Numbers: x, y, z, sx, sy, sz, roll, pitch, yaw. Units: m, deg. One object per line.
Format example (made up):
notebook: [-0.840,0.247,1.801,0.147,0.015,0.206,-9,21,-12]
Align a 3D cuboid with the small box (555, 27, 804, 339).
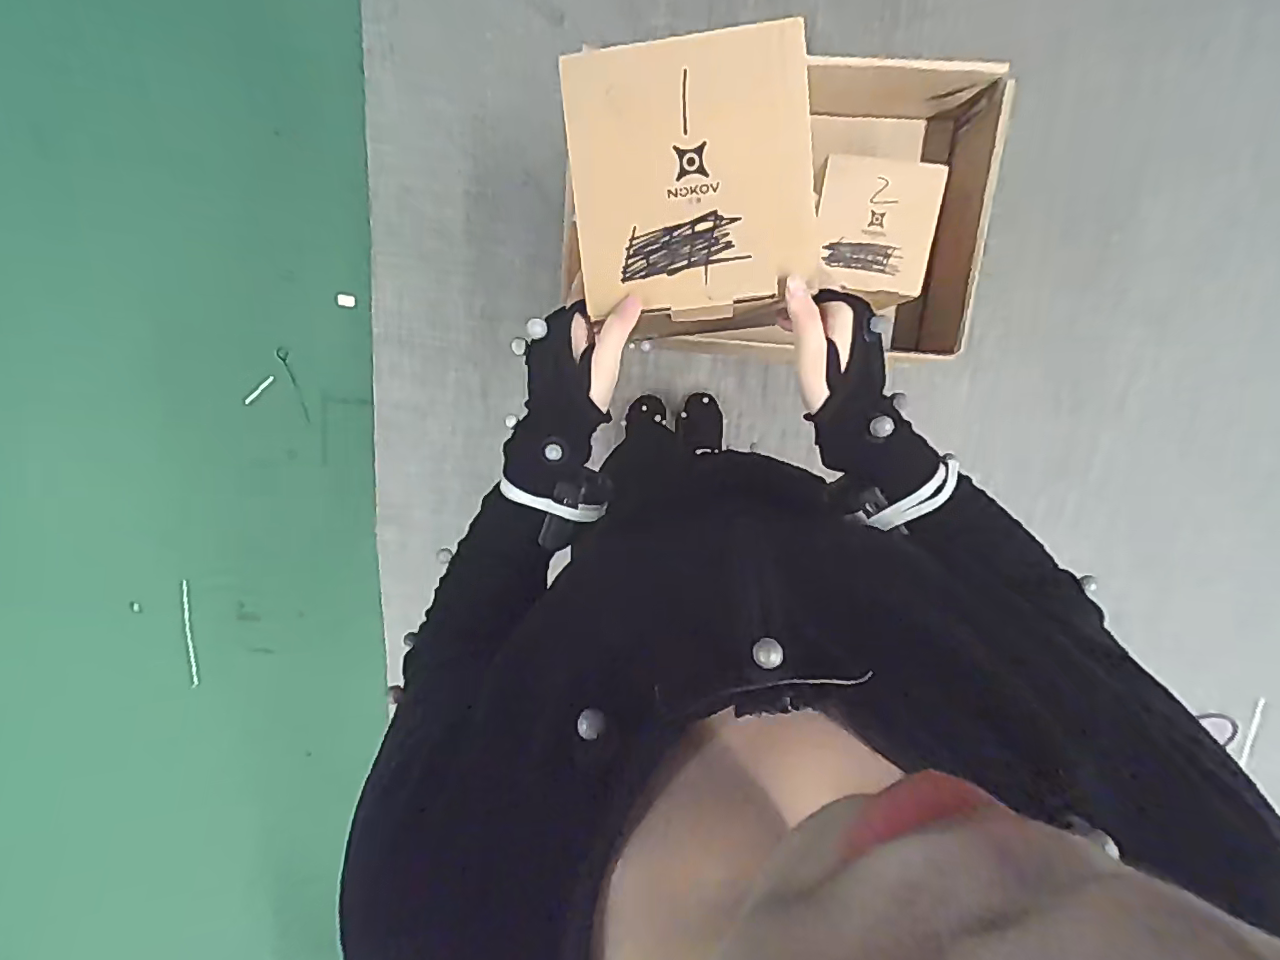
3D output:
small box: [0.036,-0.219,0.454,0.168,0.176,0.179,-5,97,5]
